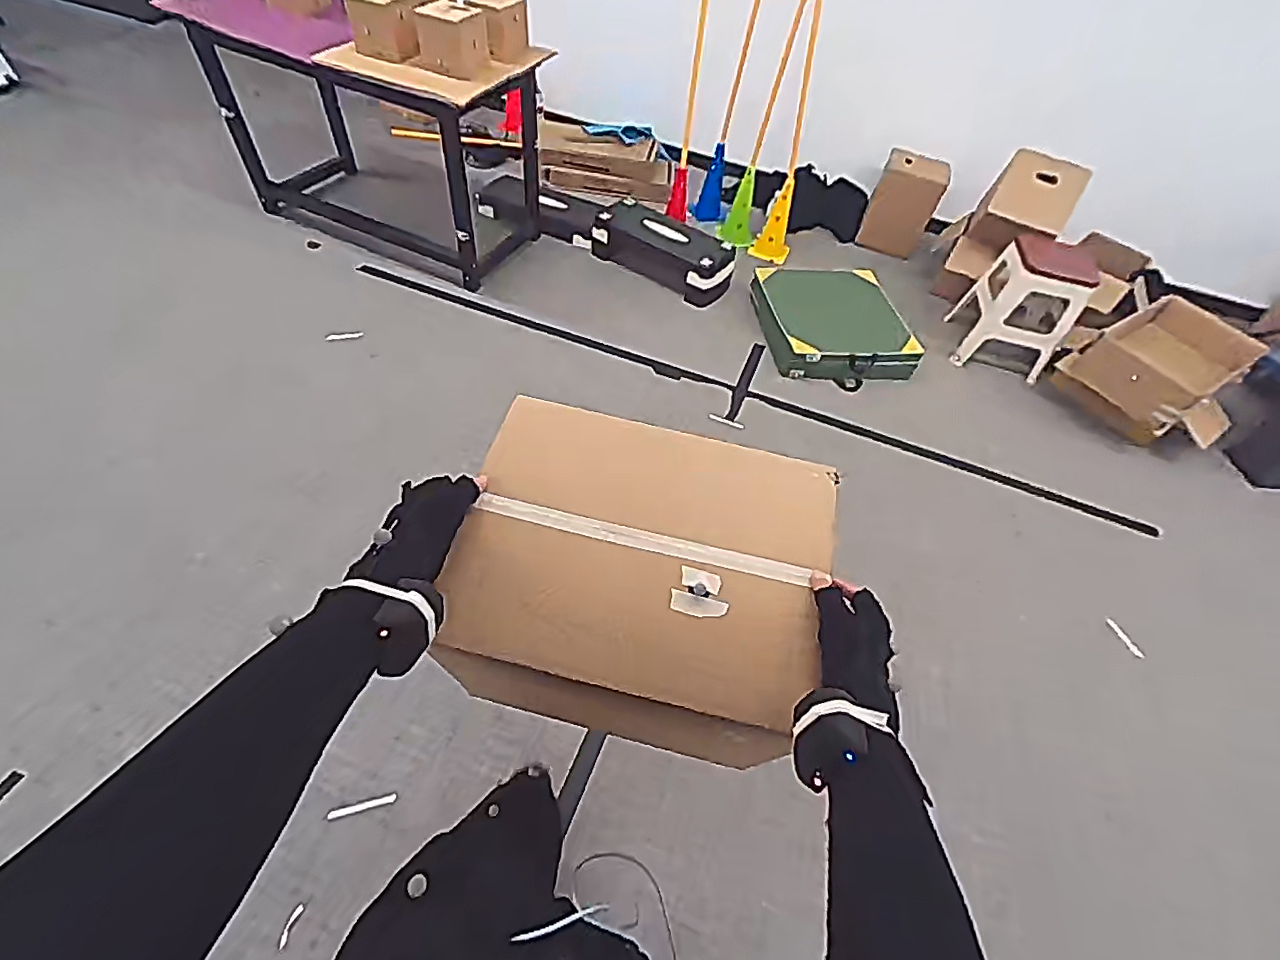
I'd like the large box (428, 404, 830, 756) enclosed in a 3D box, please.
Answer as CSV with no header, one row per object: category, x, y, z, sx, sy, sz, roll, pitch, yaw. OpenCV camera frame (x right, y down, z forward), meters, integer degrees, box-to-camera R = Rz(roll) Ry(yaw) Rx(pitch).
large box,-0.001,0.147,0.732,0.408,0.320,0.320,14,59,4
